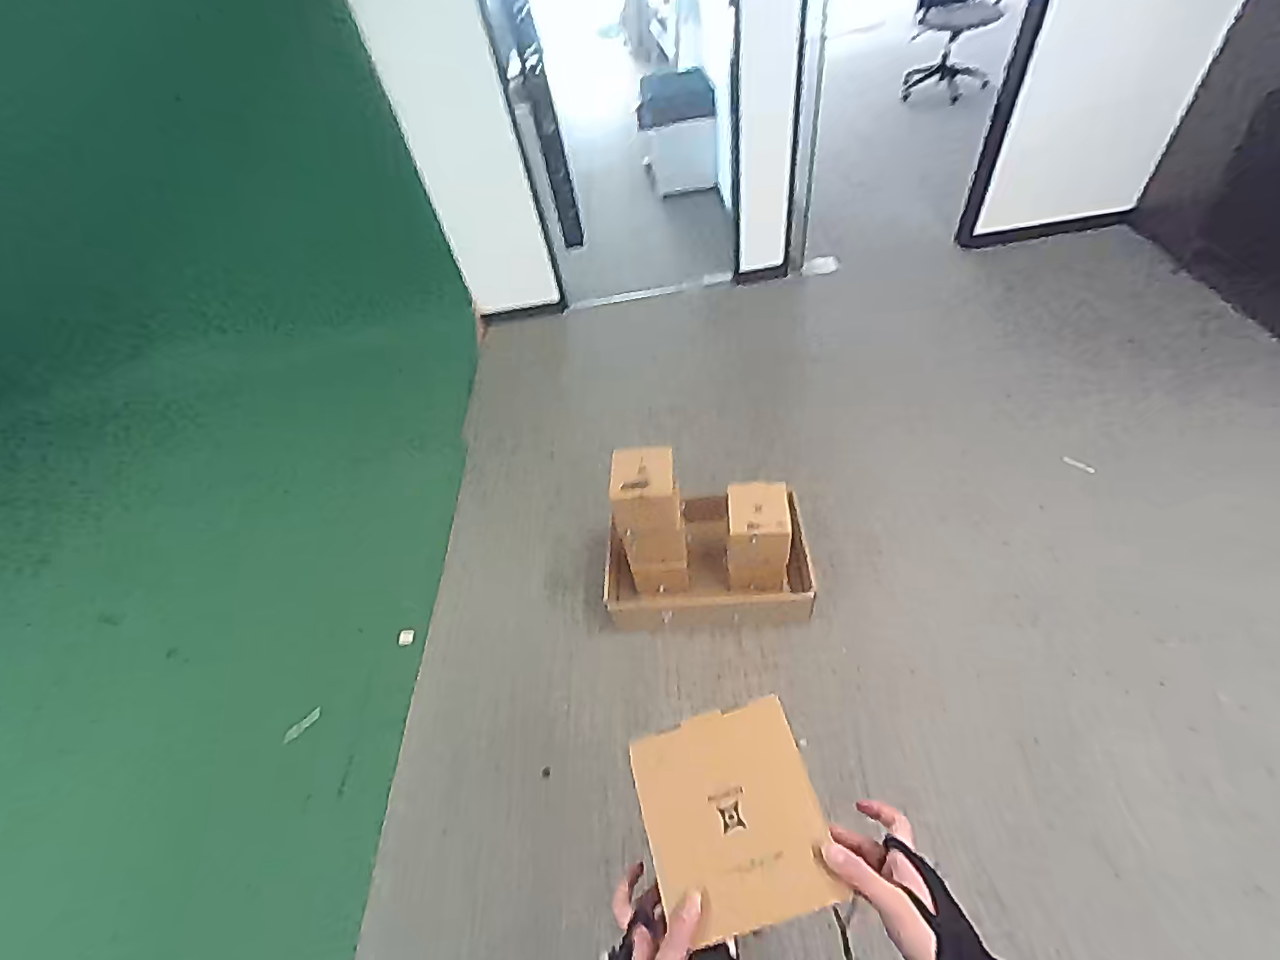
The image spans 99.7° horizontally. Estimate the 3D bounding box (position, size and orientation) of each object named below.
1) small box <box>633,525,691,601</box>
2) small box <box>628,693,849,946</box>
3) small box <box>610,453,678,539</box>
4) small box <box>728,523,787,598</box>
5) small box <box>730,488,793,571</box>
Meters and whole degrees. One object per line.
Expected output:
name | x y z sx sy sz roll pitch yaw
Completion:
small box | 0.072 0.265 1.722 0.168 0.176 0.179 -4 47 7
small box | 0.100 0.354 0.573 0.168 0.176 0.179 -19 54 4
small box | 0.017 0.049 1.481 0.168 0.176 0.179 -4 47 7
small box | 0.360 0.249 1.681 0.168 0.176 0.179 -4 49 8
small box | 0.343 0.143 1.557 0.168 0.176 0.179 -3 48 9
